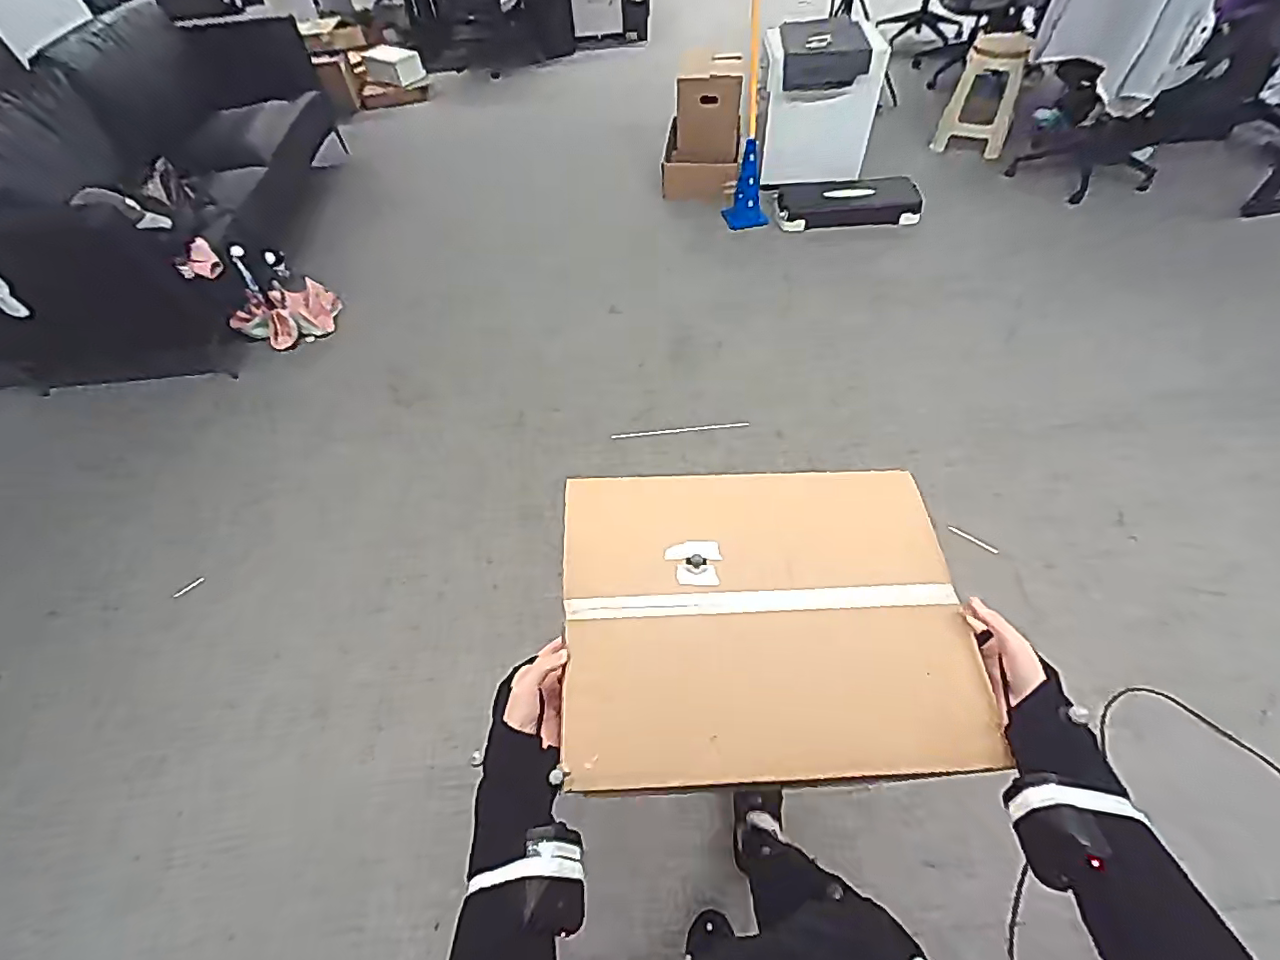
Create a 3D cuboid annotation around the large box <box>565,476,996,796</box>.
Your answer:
[{"bbox_3d":[0.123,0.212,0.690,0.408,0.320,0.320,-2,58,-2],"label":"large box"}]
